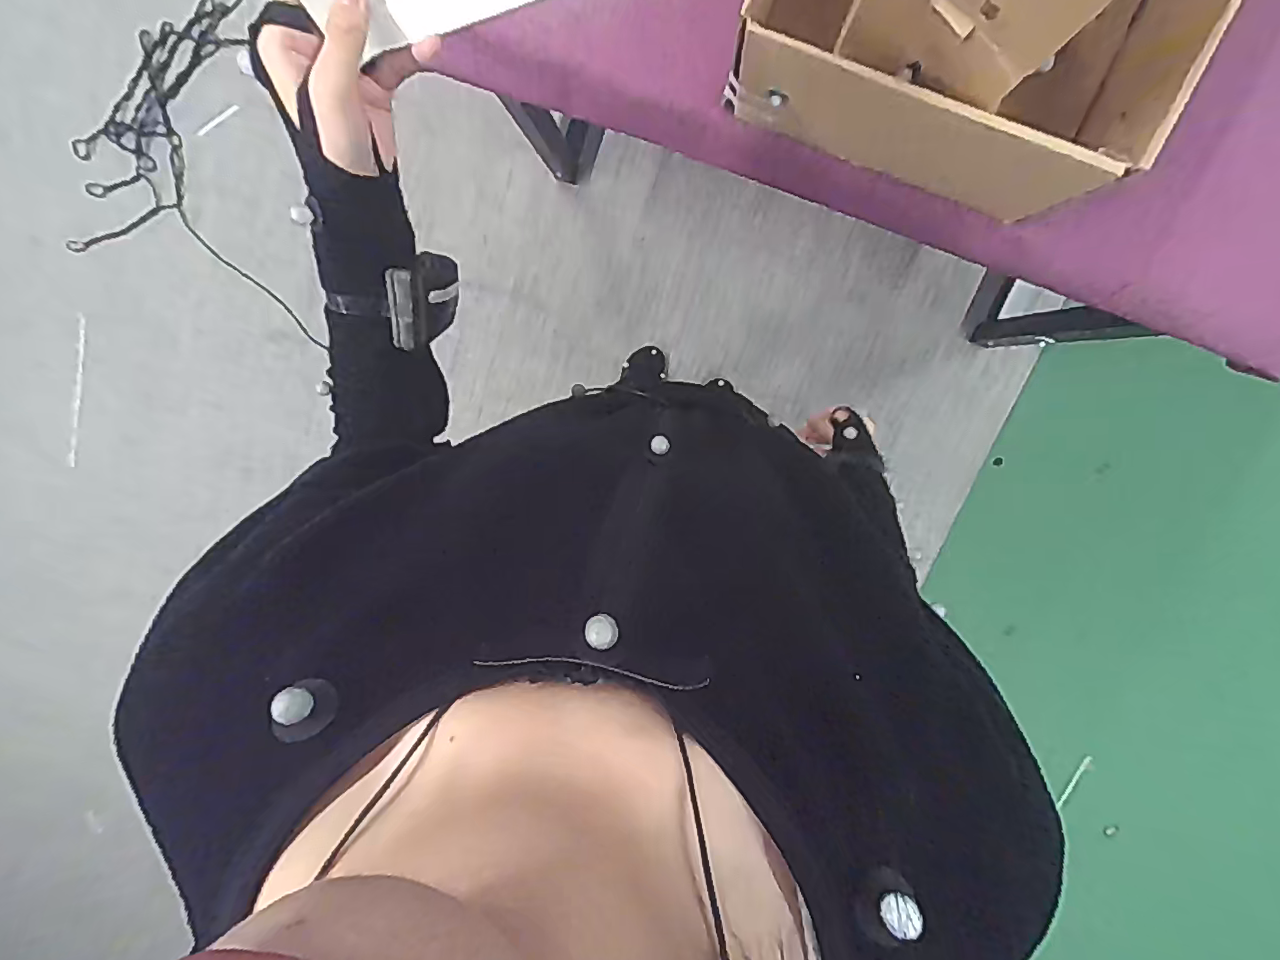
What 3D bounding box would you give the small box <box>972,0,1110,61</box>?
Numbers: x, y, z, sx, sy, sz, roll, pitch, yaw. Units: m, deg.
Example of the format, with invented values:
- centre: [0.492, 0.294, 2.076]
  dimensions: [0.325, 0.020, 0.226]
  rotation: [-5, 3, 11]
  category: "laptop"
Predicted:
- centre: [0.314, -0.438, 0.351]
  dimensions: [0.168, 0.176, 0.179]
  rotation: [42, 101, -2]
  category: "small box"
